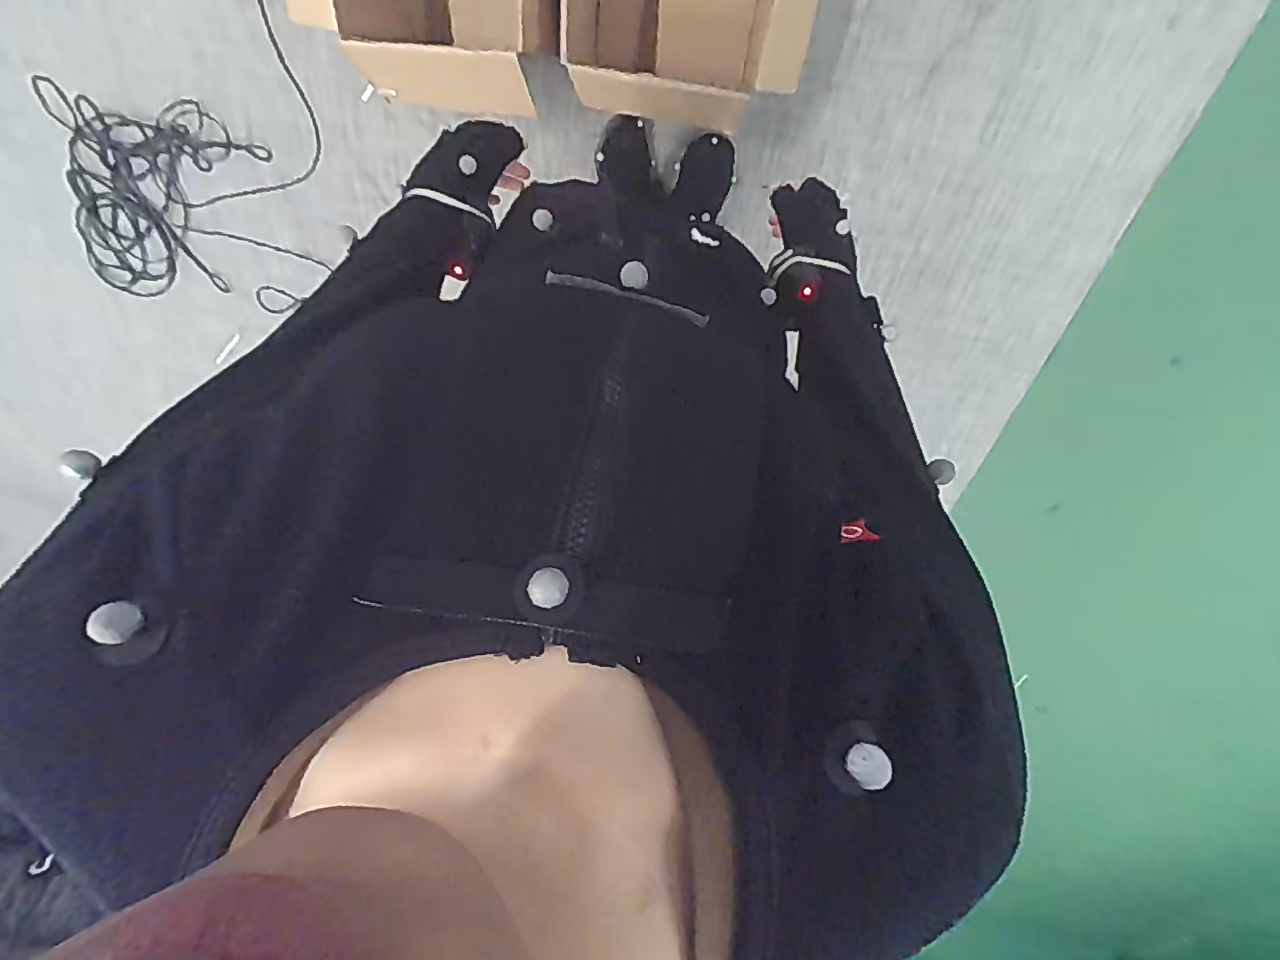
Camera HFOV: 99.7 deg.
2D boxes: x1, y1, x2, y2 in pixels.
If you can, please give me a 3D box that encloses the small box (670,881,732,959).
[{"bbox_3d":[0.195,1.423,1.735,0.168,0.176,0.179,8,127,0],"label":"small box"}]
